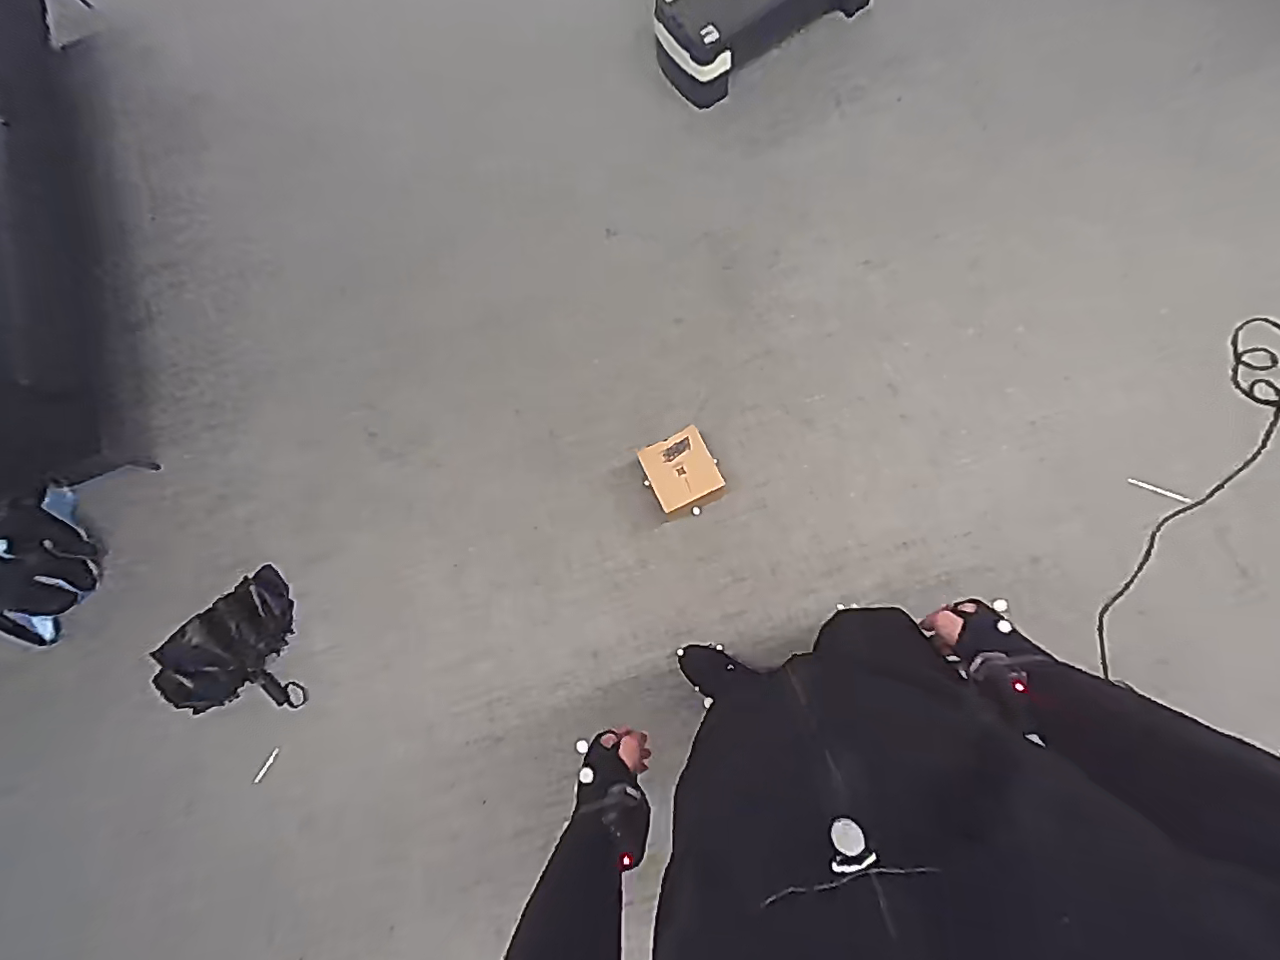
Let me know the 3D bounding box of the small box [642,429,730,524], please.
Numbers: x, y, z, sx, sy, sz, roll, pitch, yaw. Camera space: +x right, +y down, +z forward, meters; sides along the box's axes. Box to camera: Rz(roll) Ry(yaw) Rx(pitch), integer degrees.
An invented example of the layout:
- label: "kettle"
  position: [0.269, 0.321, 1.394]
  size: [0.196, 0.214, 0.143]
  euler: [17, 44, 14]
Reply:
- label: "small box"
  position: [0.121, -0.002, 1.412]
  size: [0.168, 0.176, 0.179]
  euler: [-26, 76, 2]
